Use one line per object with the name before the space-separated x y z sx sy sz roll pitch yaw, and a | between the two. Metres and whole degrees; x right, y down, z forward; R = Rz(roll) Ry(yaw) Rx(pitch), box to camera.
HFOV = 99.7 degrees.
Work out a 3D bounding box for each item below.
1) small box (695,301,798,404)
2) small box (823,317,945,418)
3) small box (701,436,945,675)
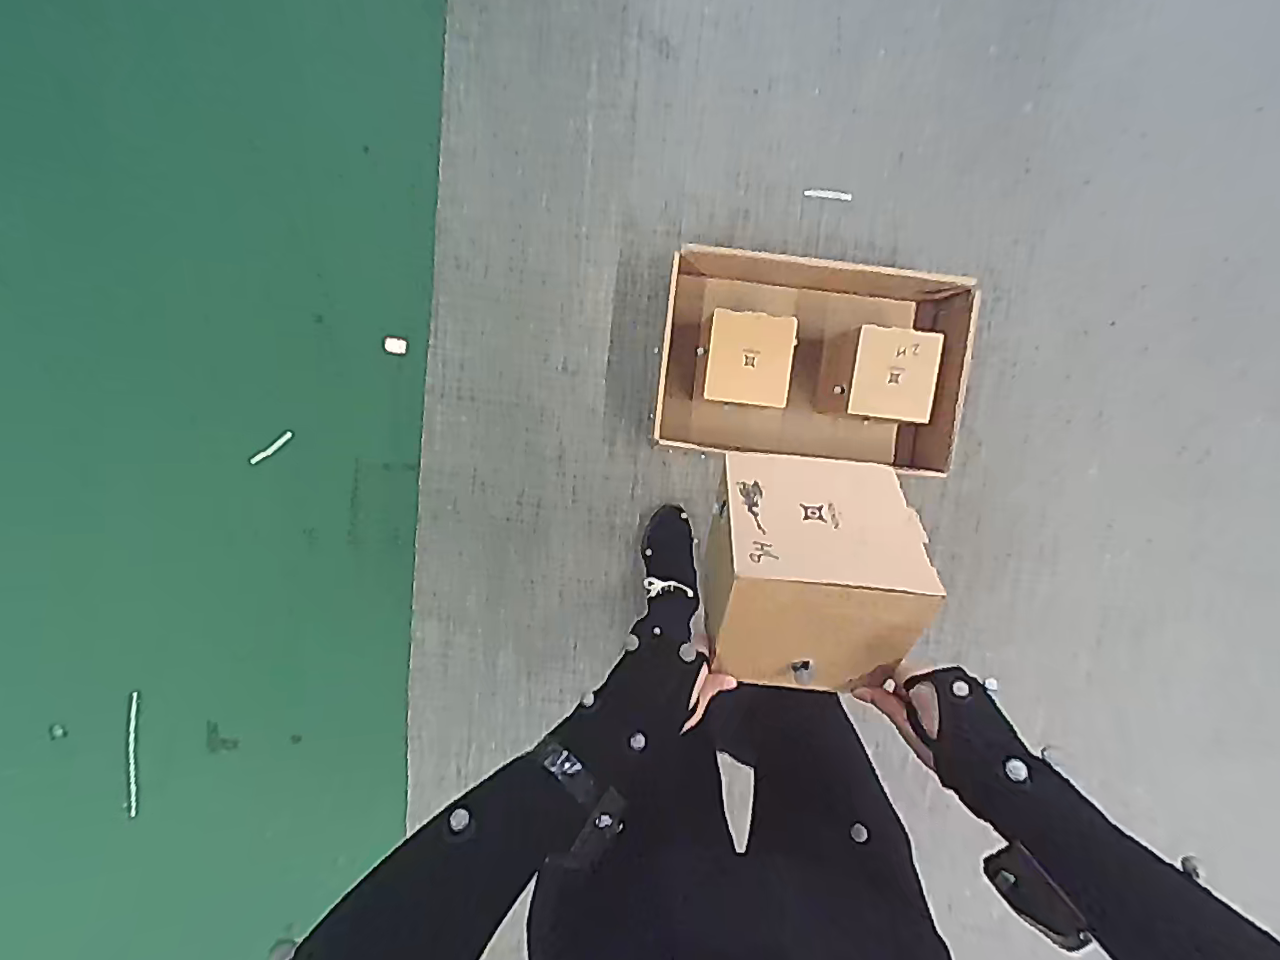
small box | 0.212 -0.255 1.120 0.168 0.176 0.179 6 95 -2
small box | 0.496 -0.226 1.127 0.168 0.176 0.179 8 96 -2
small box | 0.163 0.079 0.549 0.179 0.168 0.176 6 132 1
